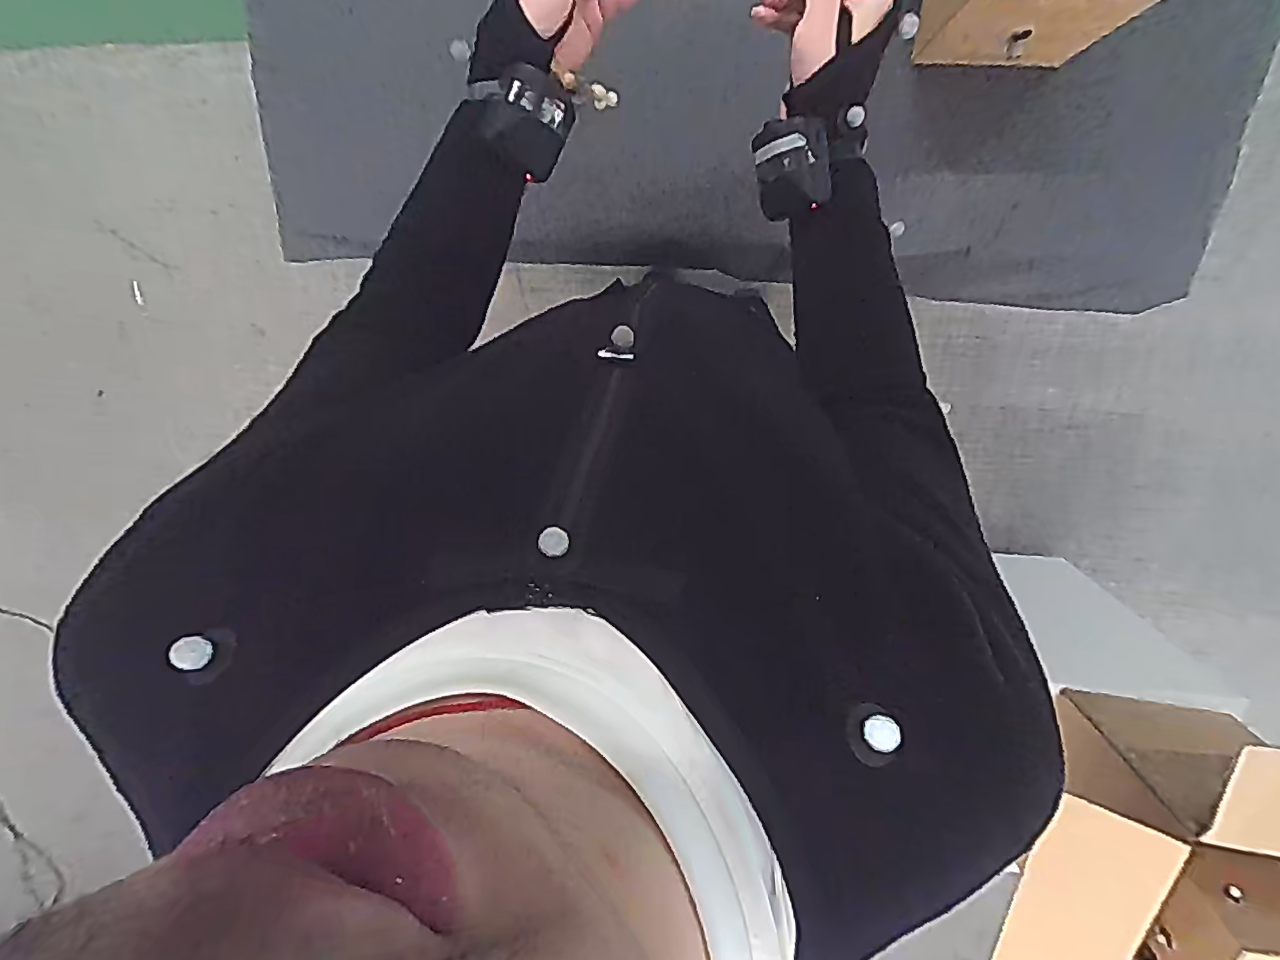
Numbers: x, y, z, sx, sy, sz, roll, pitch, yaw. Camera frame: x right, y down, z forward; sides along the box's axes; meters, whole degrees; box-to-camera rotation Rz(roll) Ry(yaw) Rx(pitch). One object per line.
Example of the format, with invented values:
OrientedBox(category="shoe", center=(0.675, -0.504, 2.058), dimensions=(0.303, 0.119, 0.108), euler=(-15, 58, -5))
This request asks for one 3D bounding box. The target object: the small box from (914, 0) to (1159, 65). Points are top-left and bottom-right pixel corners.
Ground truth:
OrientedBox(category="small box", center=(0.388, -0.530, 0.522), dimensions=(0.168, 0.176, 0.179), euler=(5, 111, 5))
